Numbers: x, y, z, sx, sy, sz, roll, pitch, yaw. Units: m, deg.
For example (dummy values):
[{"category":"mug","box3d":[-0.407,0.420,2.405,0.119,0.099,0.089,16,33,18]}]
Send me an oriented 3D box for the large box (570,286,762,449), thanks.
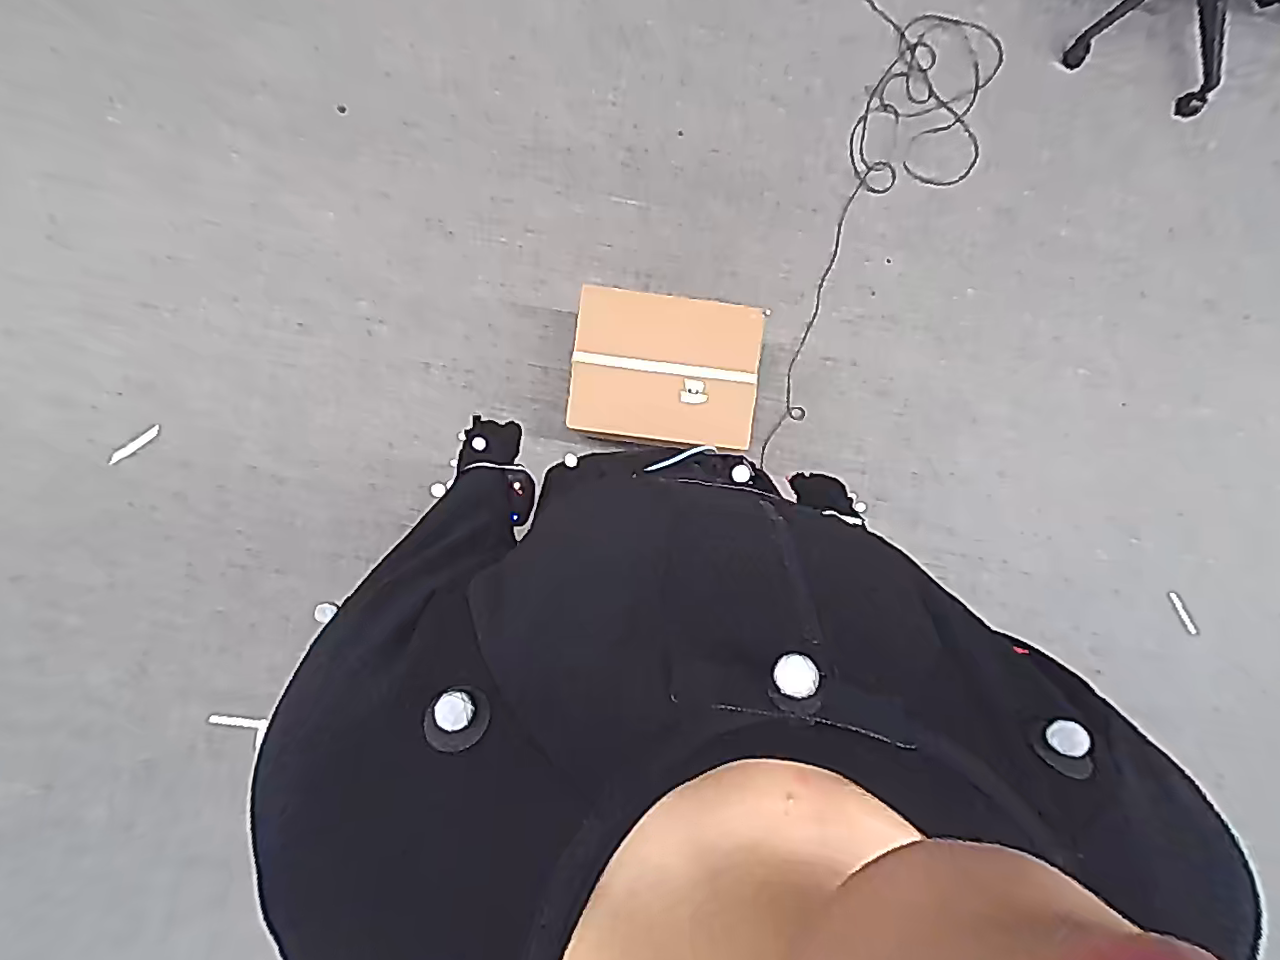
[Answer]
[{"category":"large box","box3d":[0.049,-0.253,1.332,0.408,0.320,0.320,7,92,-3]}]
